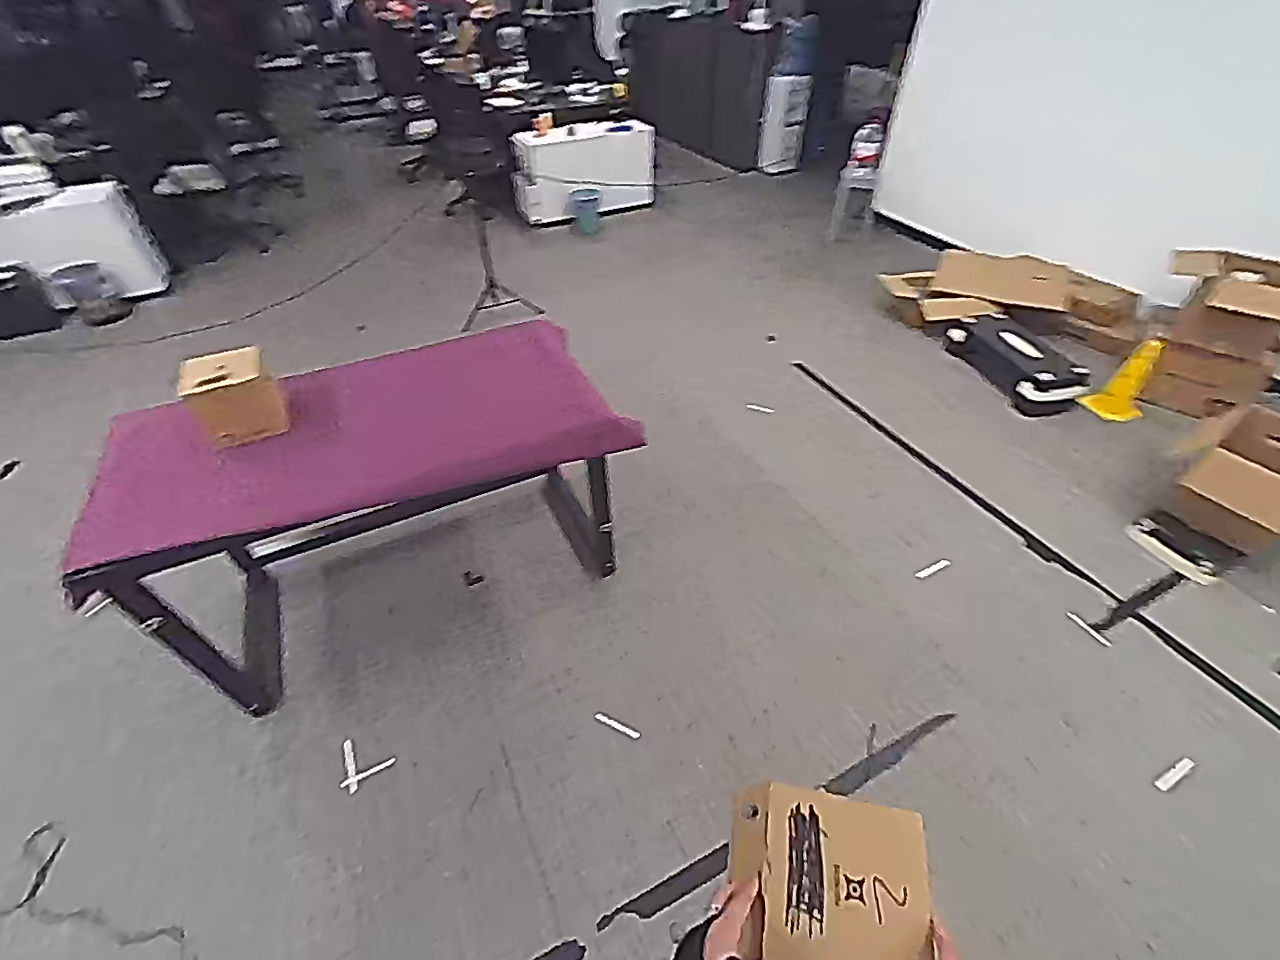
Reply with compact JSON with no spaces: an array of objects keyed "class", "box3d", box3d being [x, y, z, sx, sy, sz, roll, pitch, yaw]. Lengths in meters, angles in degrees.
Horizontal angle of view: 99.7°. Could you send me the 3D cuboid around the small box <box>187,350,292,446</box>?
[{"class":"small box","box3d":[-1.029,-0.207,1.403,0.168,0.176,0.179,-20,47,-19]}]
